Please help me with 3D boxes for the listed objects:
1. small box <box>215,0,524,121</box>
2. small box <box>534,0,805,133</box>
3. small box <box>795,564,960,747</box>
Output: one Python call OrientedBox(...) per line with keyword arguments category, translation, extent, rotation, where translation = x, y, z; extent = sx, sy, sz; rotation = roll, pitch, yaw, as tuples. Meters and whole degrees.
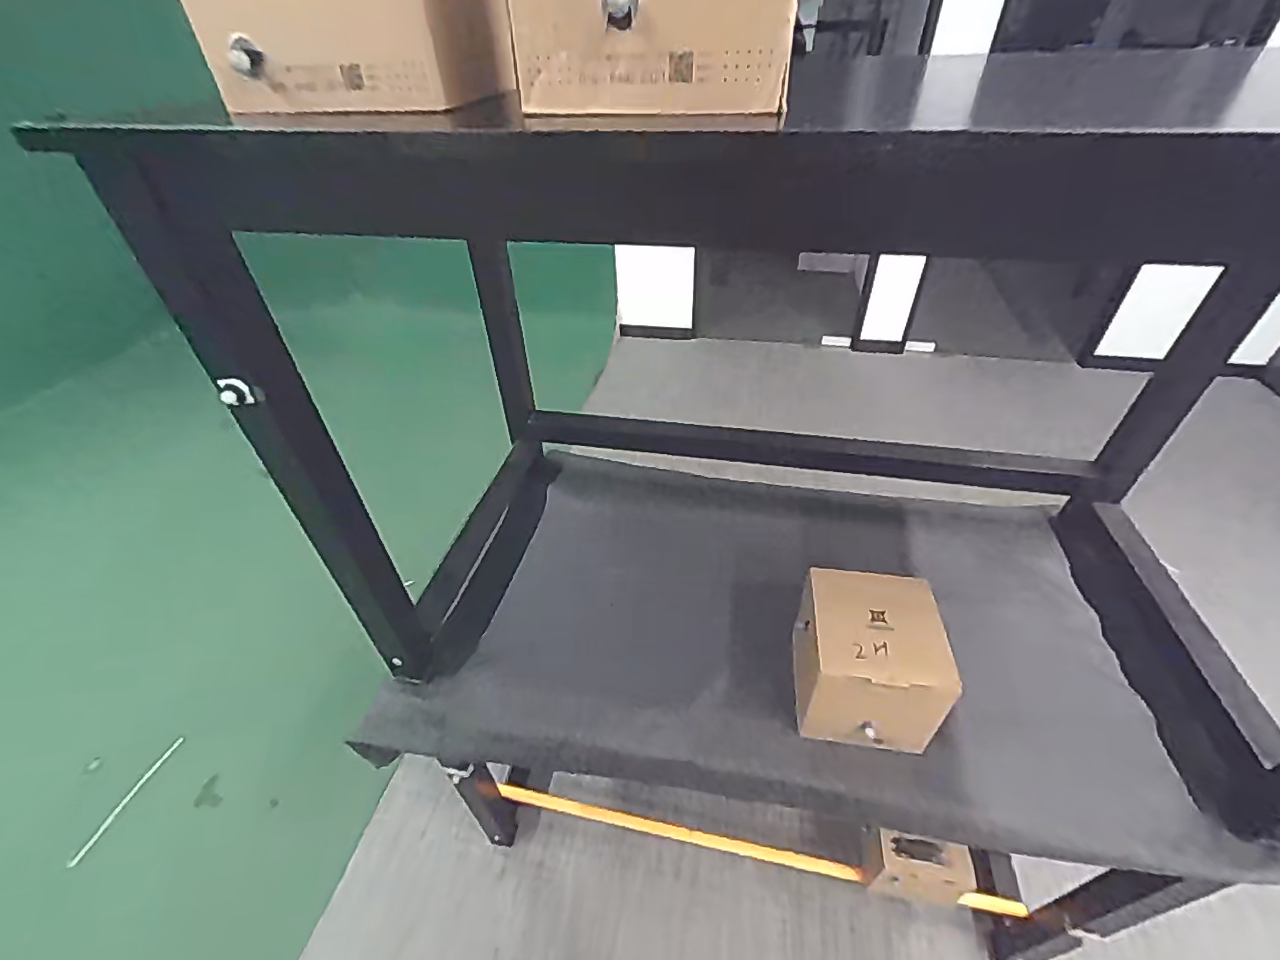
OrientedBox(category="small box", translation=(-0.195, -0.374, 0.400), extent=(0.168, 0.176, 0.179), rotation=(4, 40, 6))
OrientedBox(category="small box", translation=(0.027, -0.344, 0.359), extent=(0.168, 0.176, 0.179), rotation=(6, 41, 9))
OrientedBox(category="small box", translation=(0.320, 0.248, 0.774), extent=(0.168, 0.176, 0.179), rotation=(5, 39, 8))
